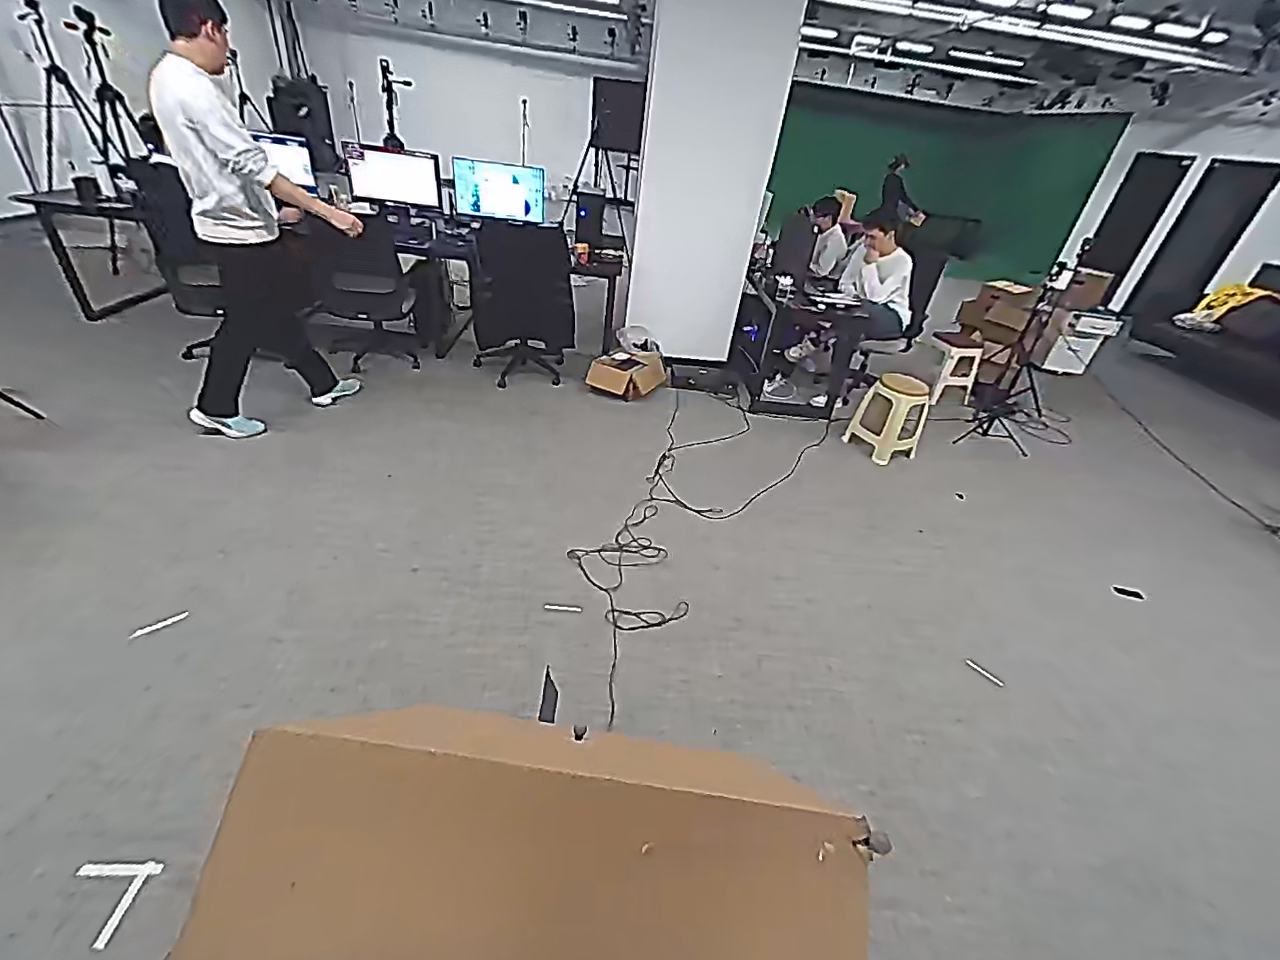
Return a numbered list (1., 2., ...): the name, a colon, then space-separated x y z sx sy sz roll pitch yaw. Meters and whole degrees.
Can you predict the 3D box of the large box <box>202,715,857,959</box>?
1. large box: -0.078 0.392 0.452 0.408 0.320 0.320 8 71 1
